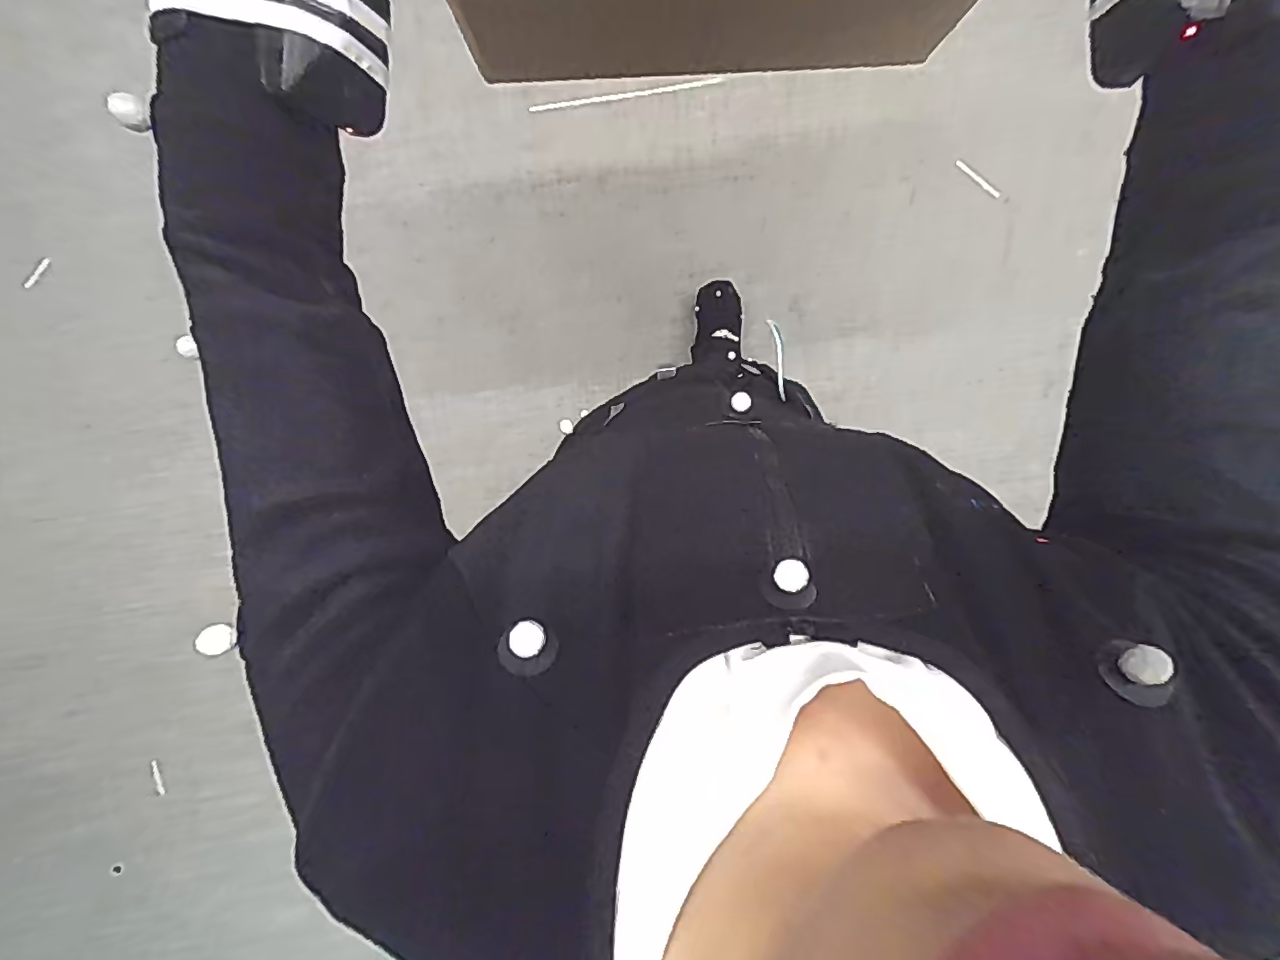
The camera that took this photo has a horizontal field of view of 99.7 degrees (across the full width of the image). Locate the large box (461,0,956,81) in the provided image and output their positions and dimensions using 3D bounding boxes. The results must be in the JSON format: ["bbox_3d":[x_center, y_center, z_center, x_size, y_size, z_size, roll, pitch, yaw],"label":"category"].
[{"bbox_3d":[0.053,-0.506,0.330,0.408,0.320,0.320,-4,99,-2],"label":"large box"}]
